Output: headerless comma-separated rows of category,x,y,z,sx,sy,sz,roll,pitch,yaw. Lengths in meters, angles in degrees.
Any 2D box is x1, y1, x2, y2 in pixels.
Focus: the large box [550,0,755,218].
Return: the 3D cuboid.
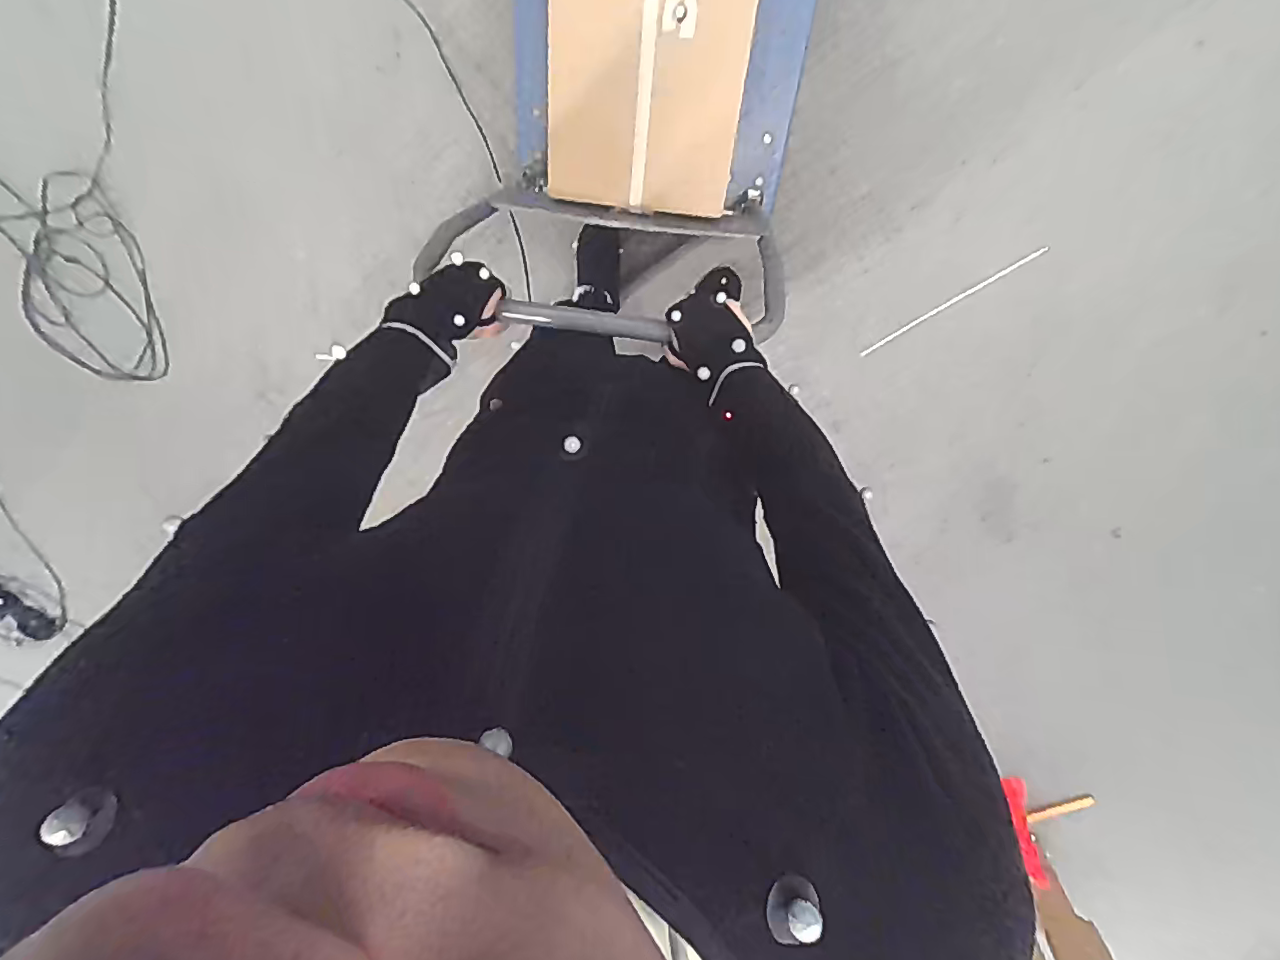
large box,0.027,-0.729,0.989,0.320,0.320,0.408,8,123,2
